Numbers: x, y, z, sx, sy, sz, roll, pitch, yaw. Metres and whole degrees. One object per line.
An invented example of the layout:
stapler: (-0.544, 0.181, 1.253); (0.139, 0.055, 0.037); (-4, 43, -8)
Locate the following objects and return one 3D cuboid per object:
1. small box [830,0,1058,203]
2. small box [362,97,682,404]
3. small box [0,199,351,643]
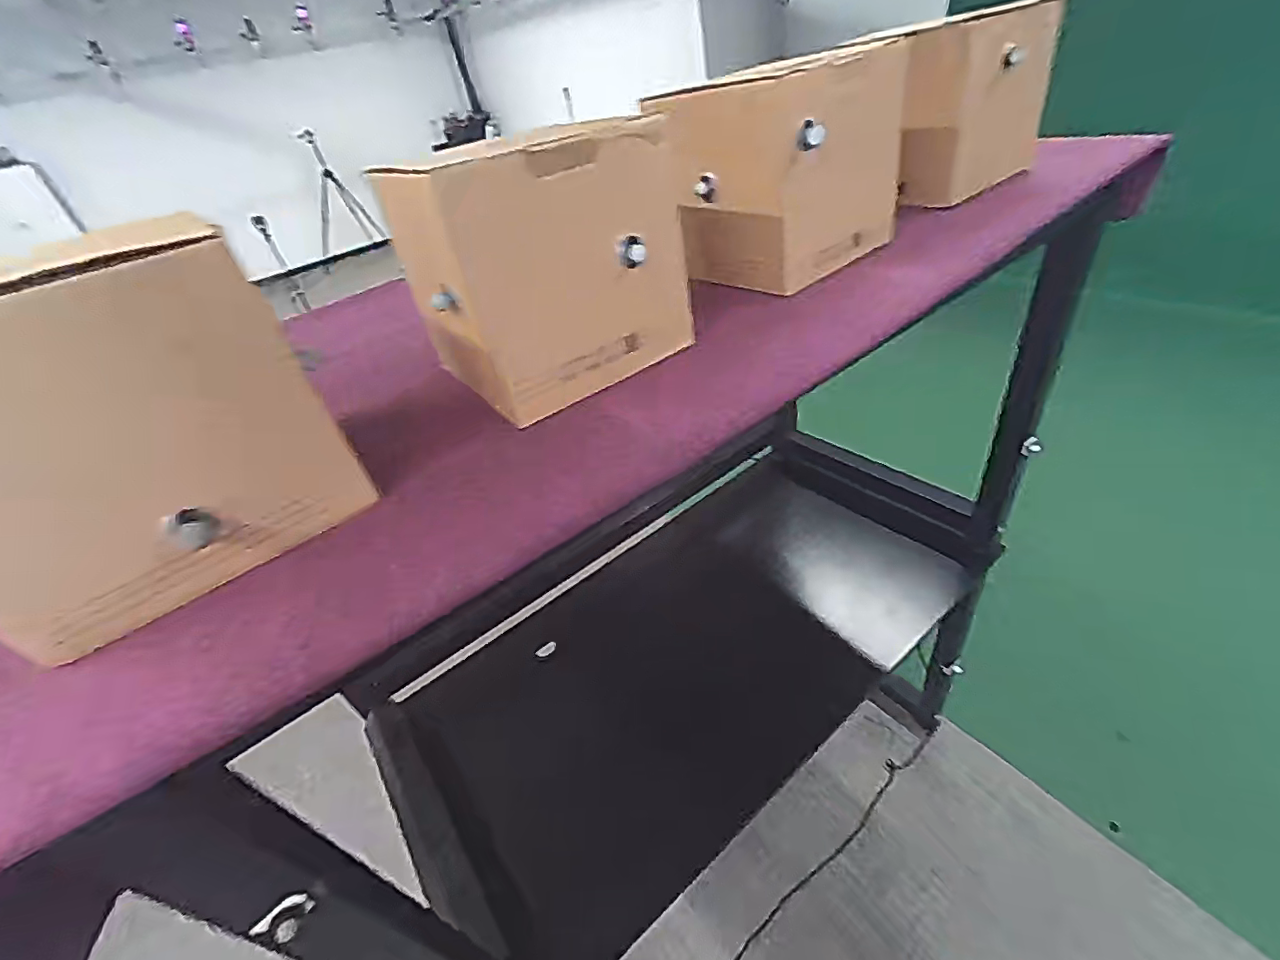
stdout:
small box: (0.349, -0.442, 0.645); (0.179, 0.176, 0.168); (-31, 40, -23)
small box: (-0.084, -0.179, 0.427); (0.168, 0.176, 0.179); (-29, 39, -22)
small box: (-0.296, -0.048, 0.313); (0.179, 0.176, 0.168); (-32, 41, -26)
